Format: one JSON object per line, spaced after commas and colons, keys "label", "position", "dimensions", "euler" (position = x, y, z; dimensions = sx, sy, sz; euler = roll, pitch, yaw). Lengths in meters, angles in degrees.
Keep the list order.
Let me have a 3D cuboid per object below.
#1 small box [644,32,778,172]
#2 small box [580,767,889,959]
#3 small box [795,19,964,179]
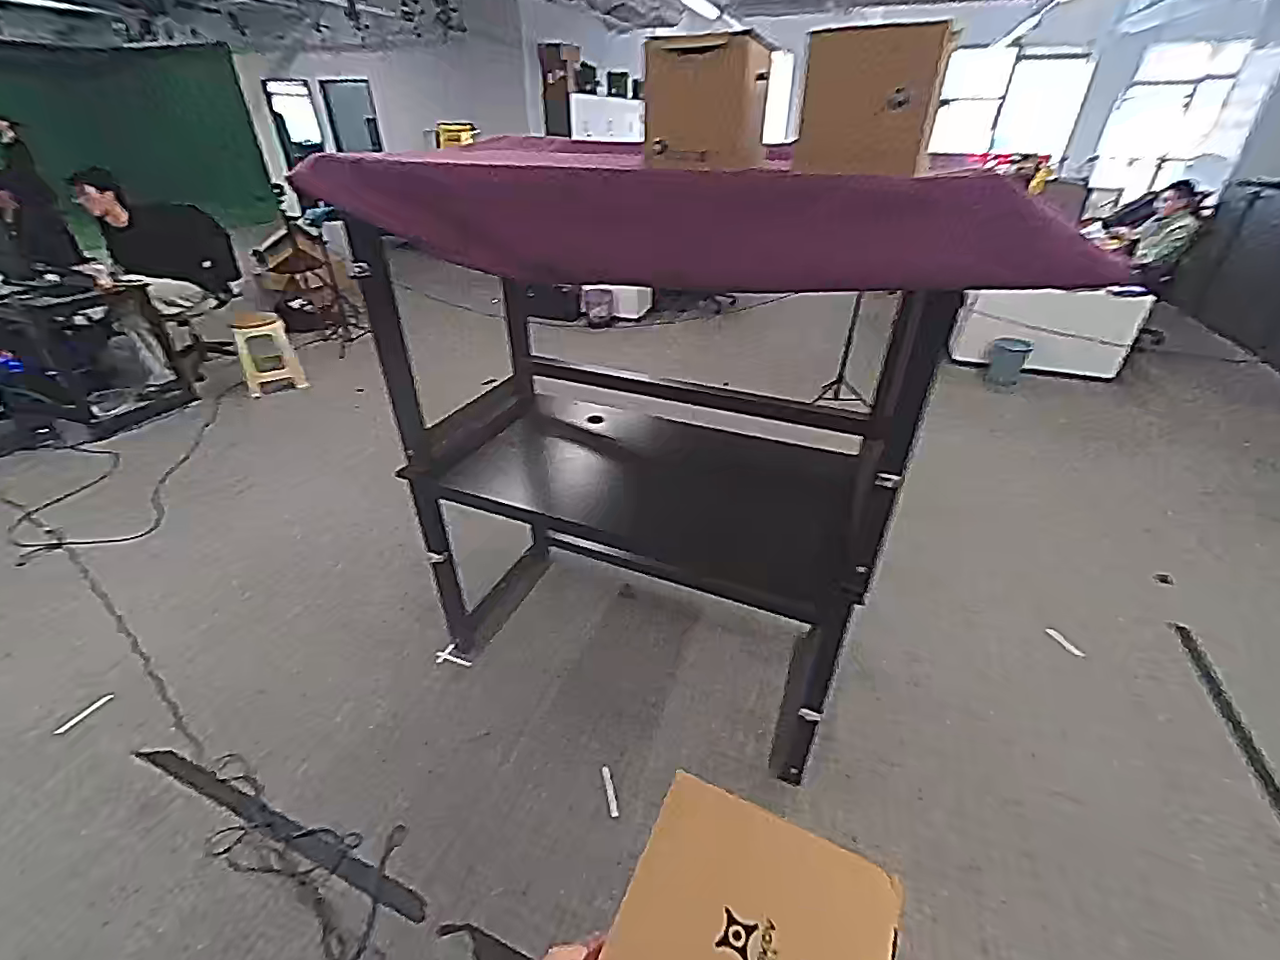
{"label": "small box", "position": [0.114, -0.594, 0.868], "dimensions": [0.168, 0.176, 0.179], "euler": [13, 34, 19]}
{"label": "small box", "position": [0.066, 0.362, 0.406], "dimensions": [0.179, 0.176, 0.168], "euler": [16, 44, 20]}
{"label": "small box", "position": [0.336, -0.530, 0.770], "dimensions": [0.179, 0.176, 0.168], "euler": [16, 35, 23]}
